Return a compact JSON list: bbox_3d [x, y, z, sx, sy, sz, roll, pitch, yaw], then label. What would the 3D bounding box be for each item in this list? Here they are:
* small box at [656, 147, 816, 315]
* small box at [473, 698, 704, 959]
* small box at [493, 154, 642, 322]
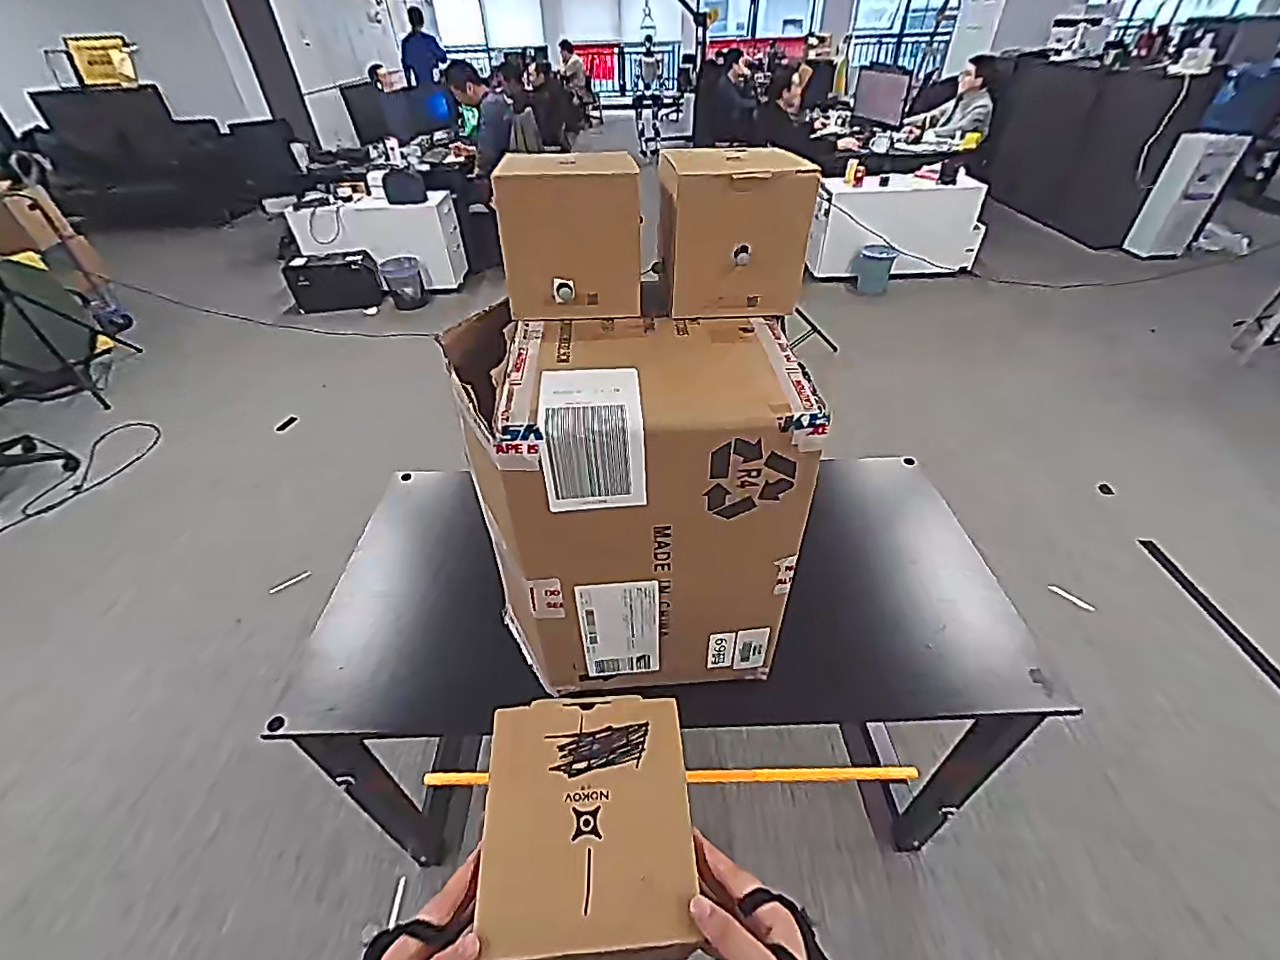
[{"bbox_3d":[0.112,-0.327,0.715,0.168,0.176,0.179,-3,40,-5],"label":"small box"},{"bbox_3d":[-0.043,0.322,0.493,0.168,0.176,0.179,-2,45,-4],"label":"small box"},{"bbox_3d":[-0.088,-0.319,0.710,0.168,0.176,0.179,-5,39,-4],"label":"small box"}]
